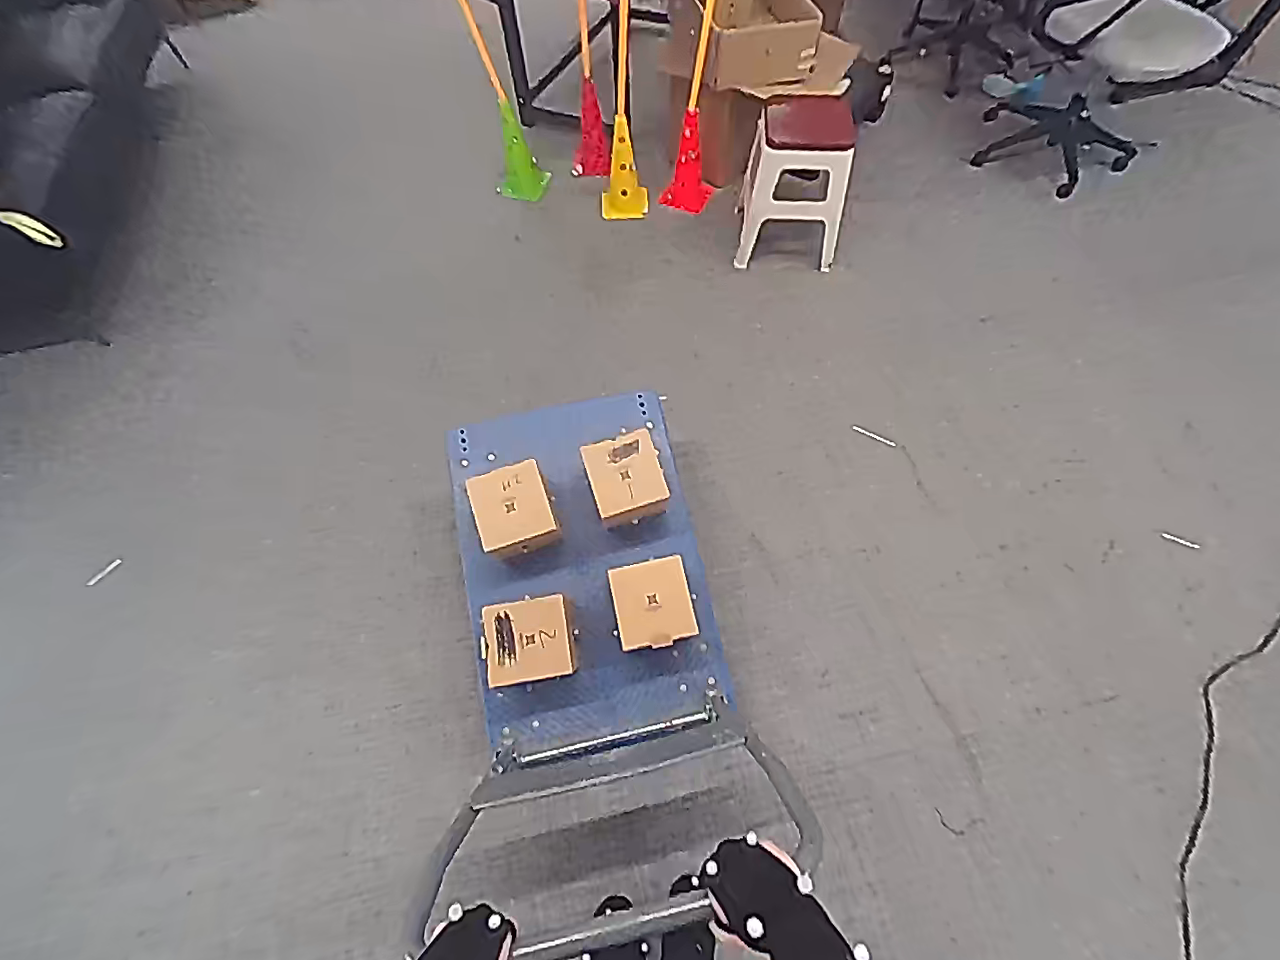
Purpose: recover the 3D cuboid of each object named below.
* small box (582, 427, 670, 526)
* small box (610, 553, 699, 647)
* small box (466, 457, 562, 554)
[{"bbox_3d":[-0.036,-0.003,1.307,0.168,0.176,0.179,-17,78,-5],"label":"small box"},{"bbox_3d":[0.025,0.276,1.240,0.168,0.176,0.179,-12,77,-5],"label":"small box"},{"bbox_3d":[-0.290,0.069,1.280,0.168,0.176,0.179,-18,77,-7],"label":"small box"}]
